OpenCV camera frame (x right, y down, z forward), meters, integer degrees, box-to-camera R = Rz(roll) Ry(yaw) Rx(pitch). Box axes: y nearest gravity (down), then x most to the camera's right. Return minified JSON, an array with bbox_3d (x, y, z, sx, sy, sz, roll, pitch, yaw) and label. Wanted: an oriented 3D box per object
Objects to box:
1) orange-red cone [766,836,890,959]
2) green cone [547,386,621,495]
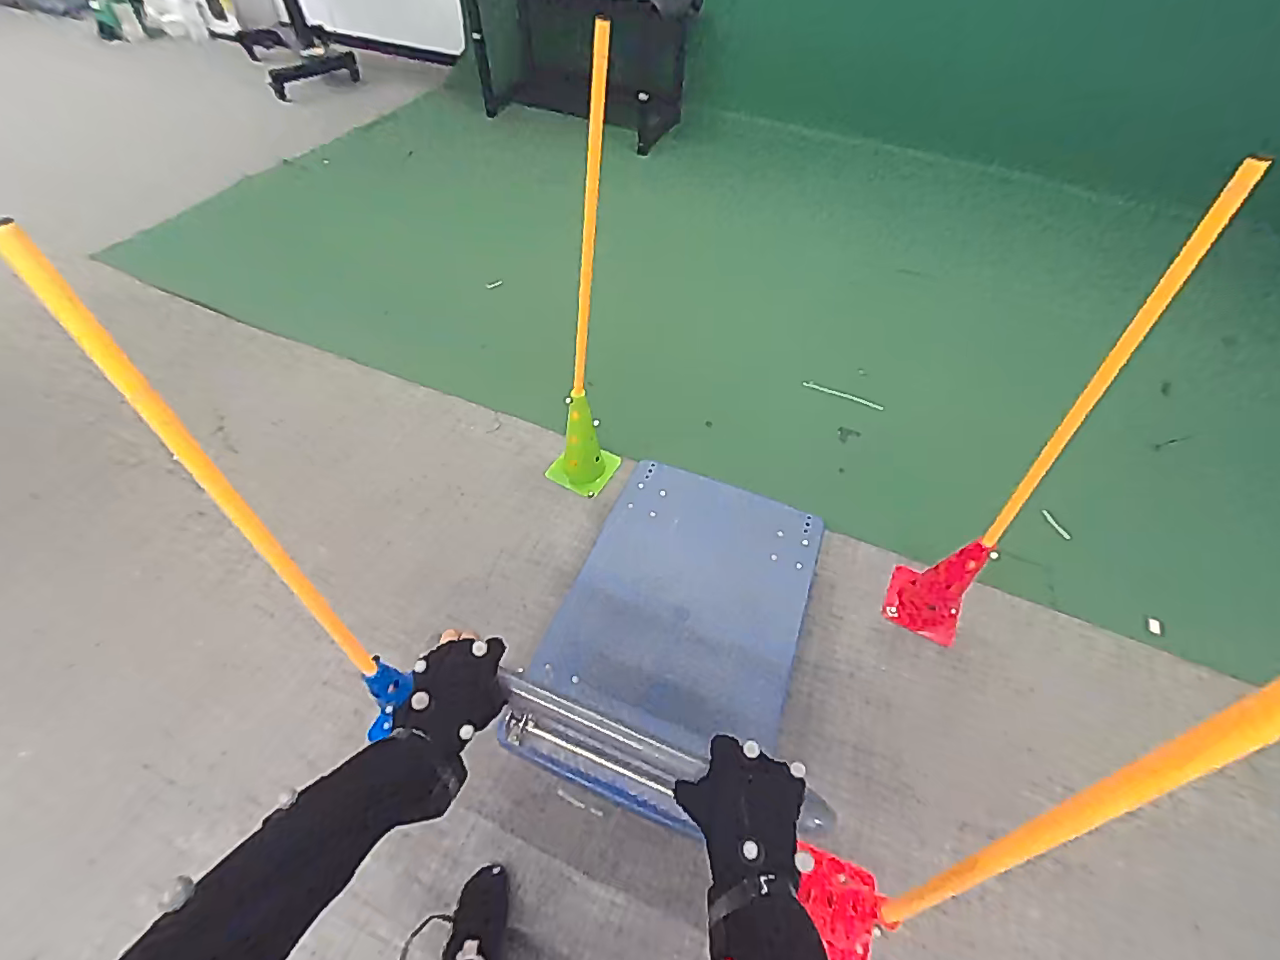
[{"bbox_3d":[0.390,0.806,1.031,0.199,0.360,0.198,19,54,14],"label":"orange-red cone"},{"bbox_3d":[-0.185,-0.155,1.728,0.202,0.368,0.200,24,55,16],"label":"green cone"}]
